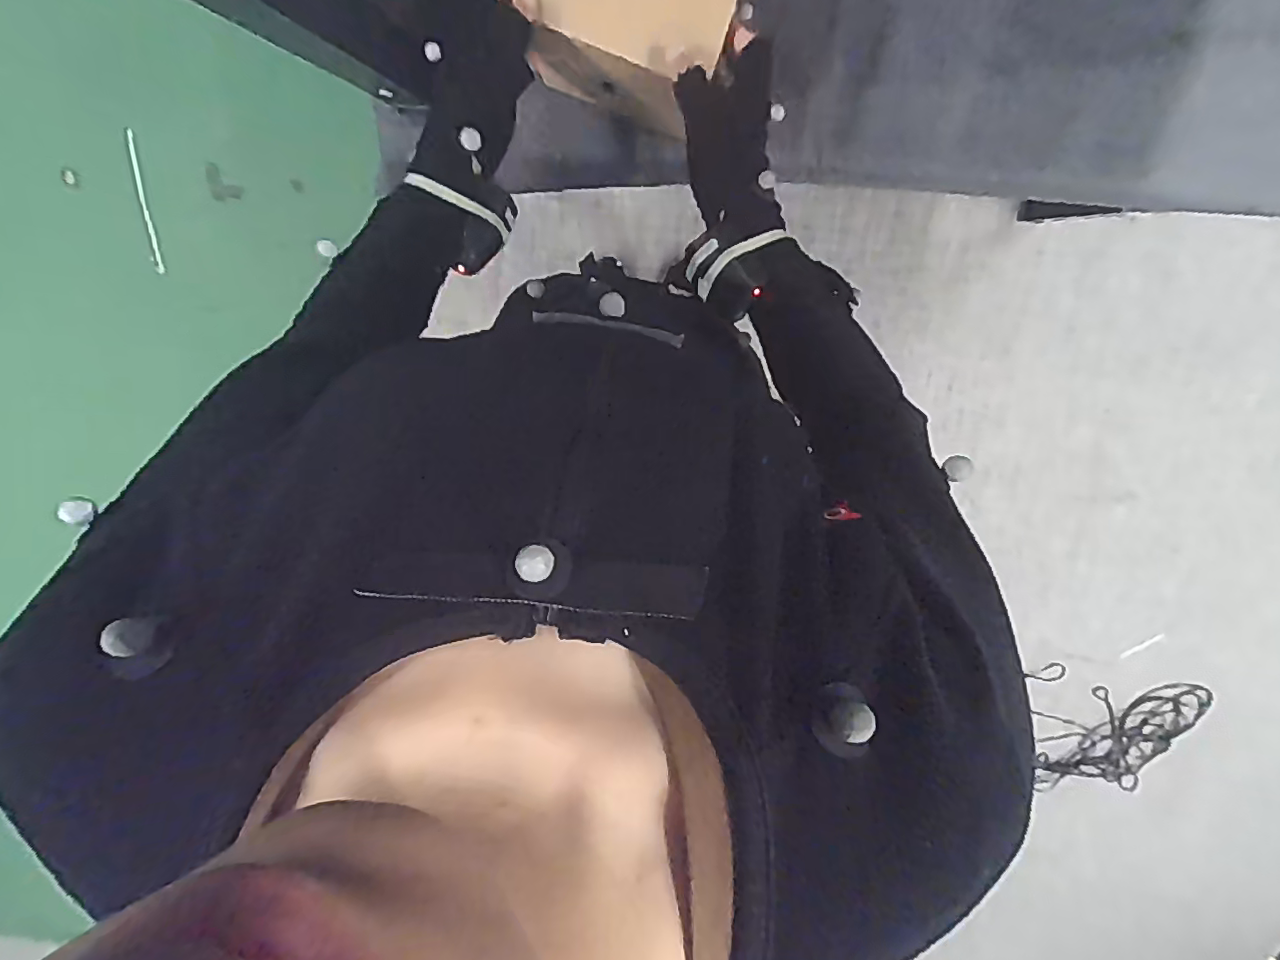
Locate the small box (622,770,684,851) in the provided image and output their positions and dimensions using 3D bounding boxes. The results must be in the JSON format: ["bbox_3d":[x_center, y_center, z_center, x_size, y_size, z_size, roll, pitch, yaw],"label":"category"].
[{"bbox_3d":[0.048,1.172,1.927,0.179,0.176,0.168,19,111,-4],"label":"small box"}]

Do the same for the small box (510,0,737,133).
[{"bbox_3d":[0.004,-0.443,0.475,0.168,0.176,0.179,19,109,-9],"label":"small box"}]
